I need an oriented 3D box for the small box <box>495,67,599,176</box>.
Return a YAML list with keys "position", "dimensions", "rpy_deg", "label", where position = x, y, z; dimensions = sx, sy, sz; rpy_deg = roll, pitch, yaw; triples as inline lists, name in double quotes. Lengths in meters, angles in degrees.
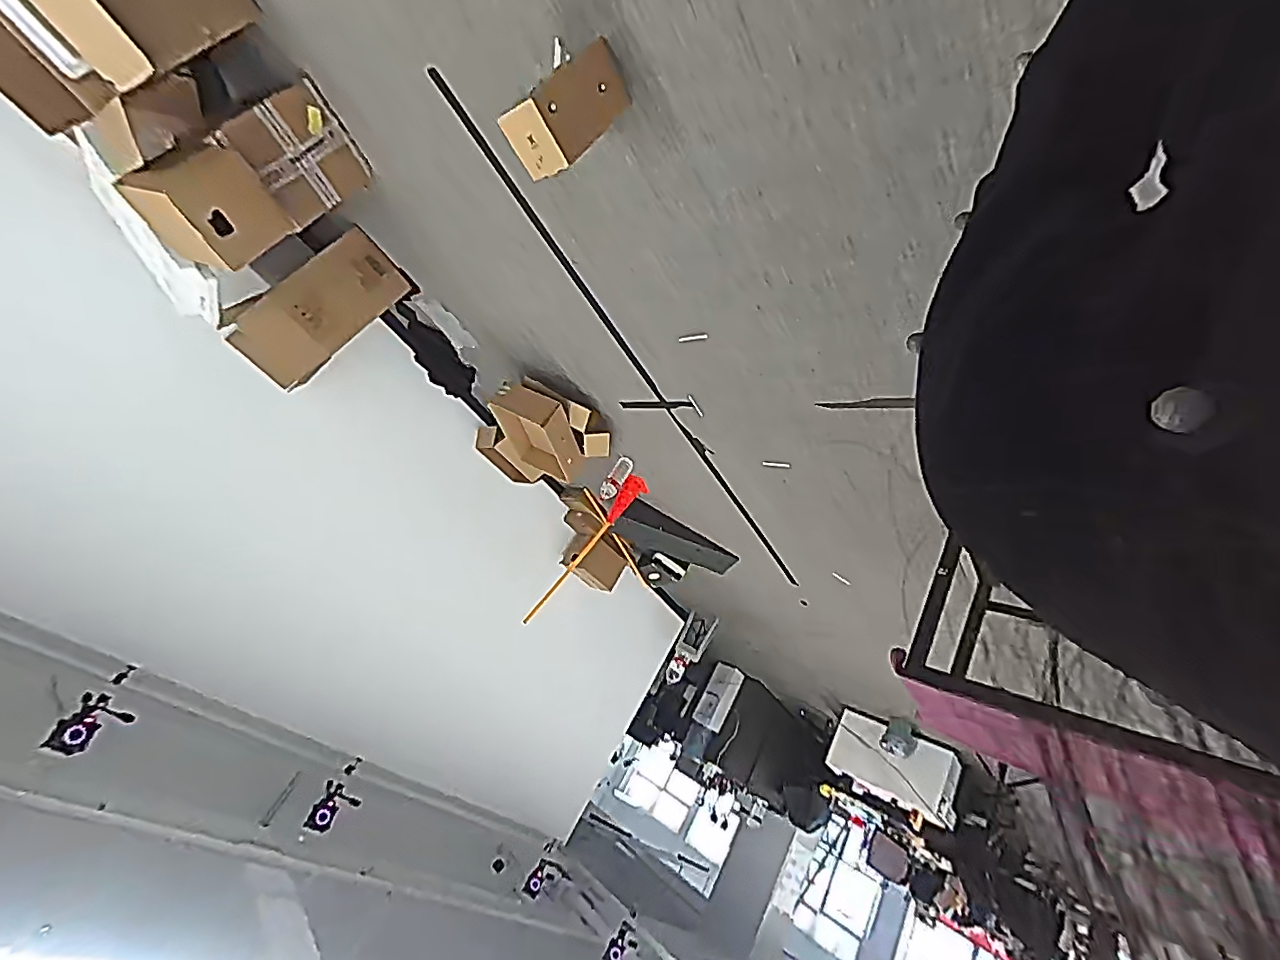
- position: [-0.244, -0.964, 1.450]
  dimensions: [0.168, 0.176, 0.179]
  rpy_deg: [11, 150, 43]
  label: "small box"
